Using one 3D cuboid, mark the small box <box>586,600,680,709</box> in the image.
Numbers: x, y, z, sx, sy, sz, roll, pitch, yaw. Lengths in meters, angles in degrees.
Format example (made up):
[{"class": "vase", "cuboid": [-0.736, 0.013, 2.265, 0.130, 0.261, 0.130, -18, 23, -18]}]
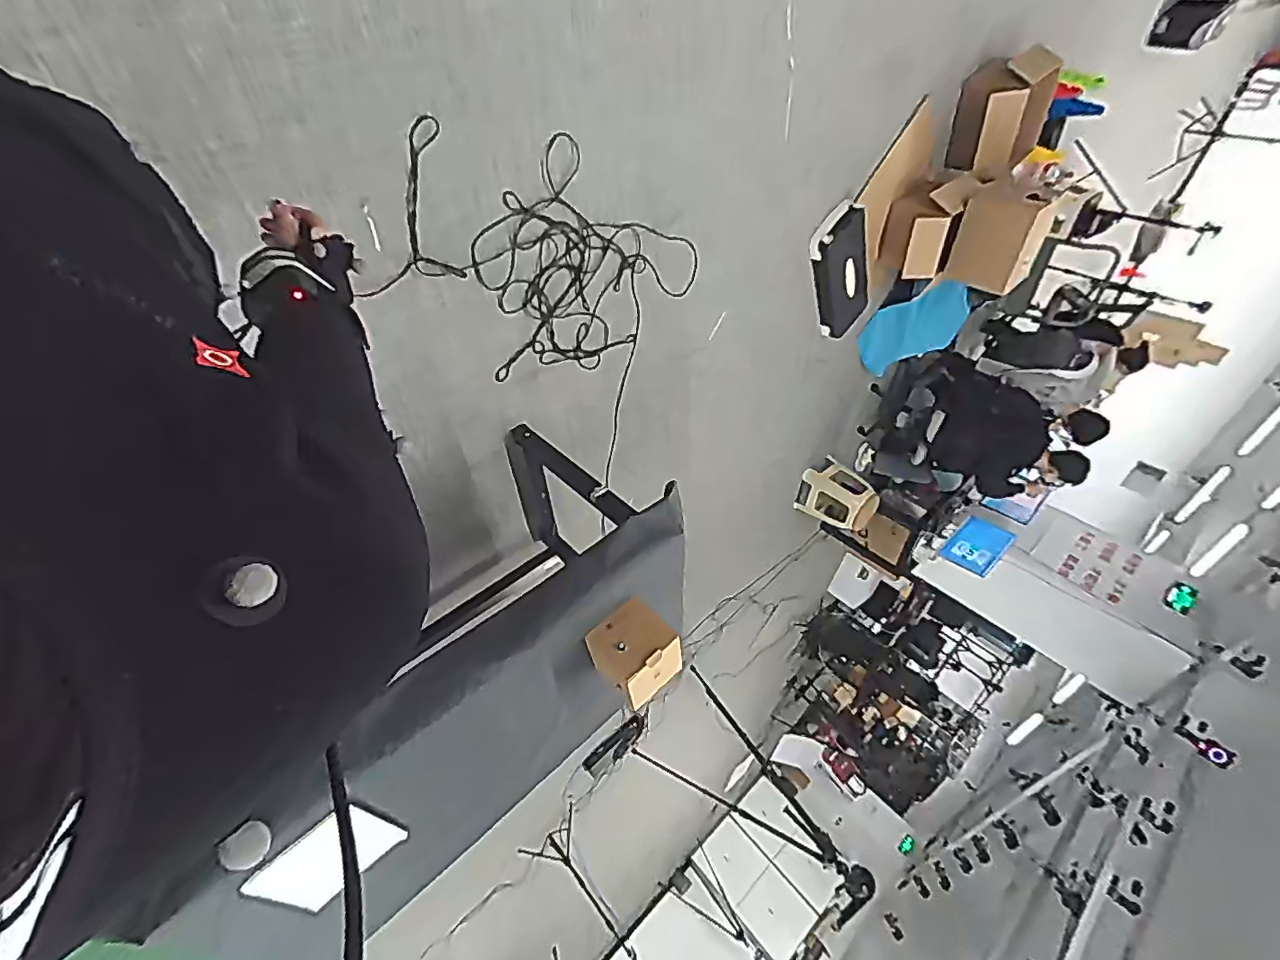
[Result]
[{"class": "small box", "cuboid": [-0.017, 0.429, 1.355, 0.168, 0.176, 0.179, -36, 143, -23]}]
